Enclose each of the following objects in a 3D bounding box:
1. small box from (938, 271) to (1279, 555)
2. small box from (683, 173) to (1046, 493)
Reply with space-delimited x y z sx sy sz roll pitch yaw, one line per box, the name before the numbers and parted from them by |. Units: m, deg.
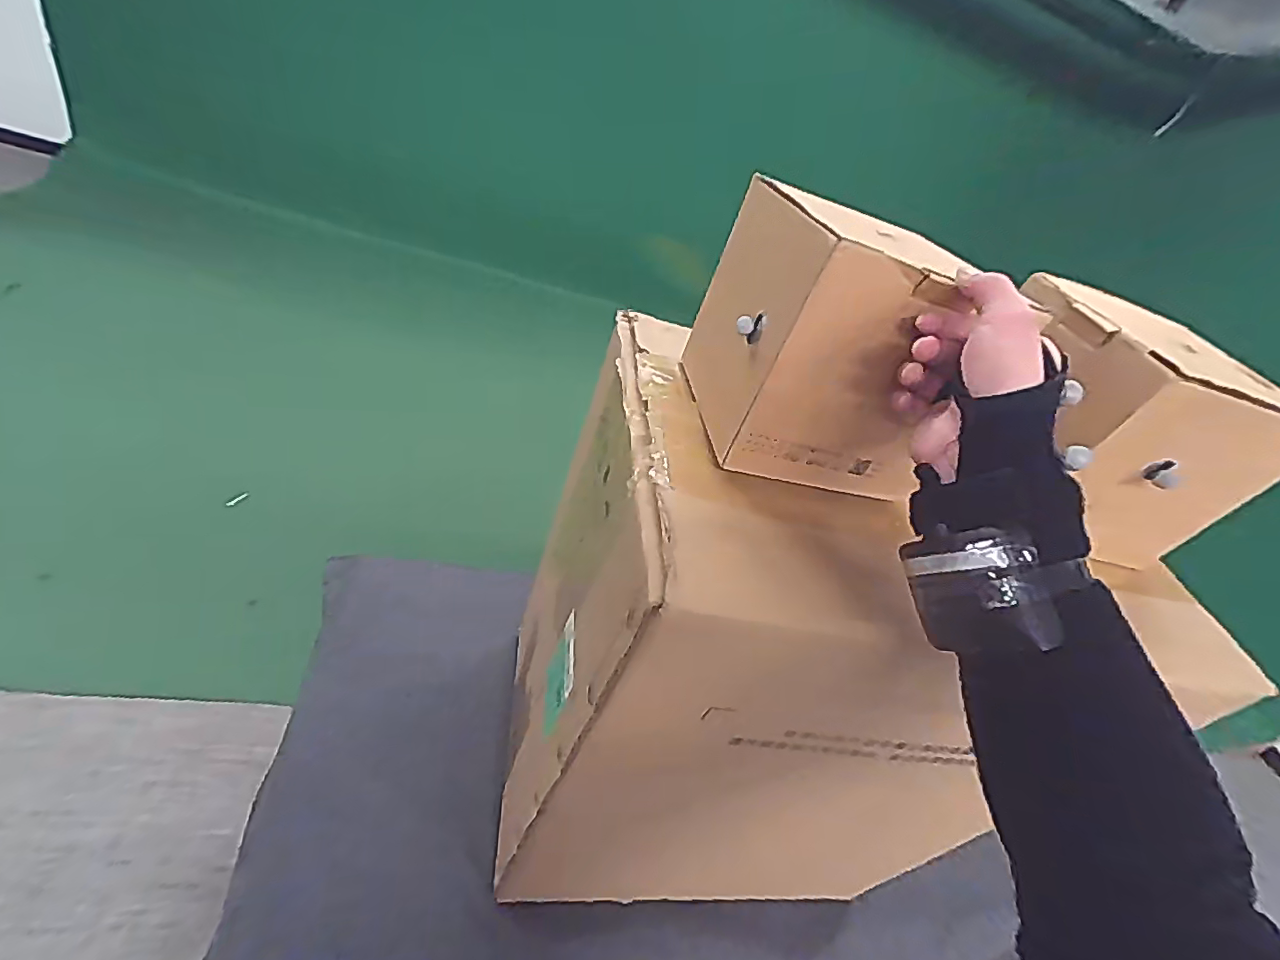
small box | 0.396 -0.052 0.478 0.179 0.176 0.168 11 43 -13
small box | 0.148 -0.112 0.430 0.168 0.176 0.179 11 37 -17
